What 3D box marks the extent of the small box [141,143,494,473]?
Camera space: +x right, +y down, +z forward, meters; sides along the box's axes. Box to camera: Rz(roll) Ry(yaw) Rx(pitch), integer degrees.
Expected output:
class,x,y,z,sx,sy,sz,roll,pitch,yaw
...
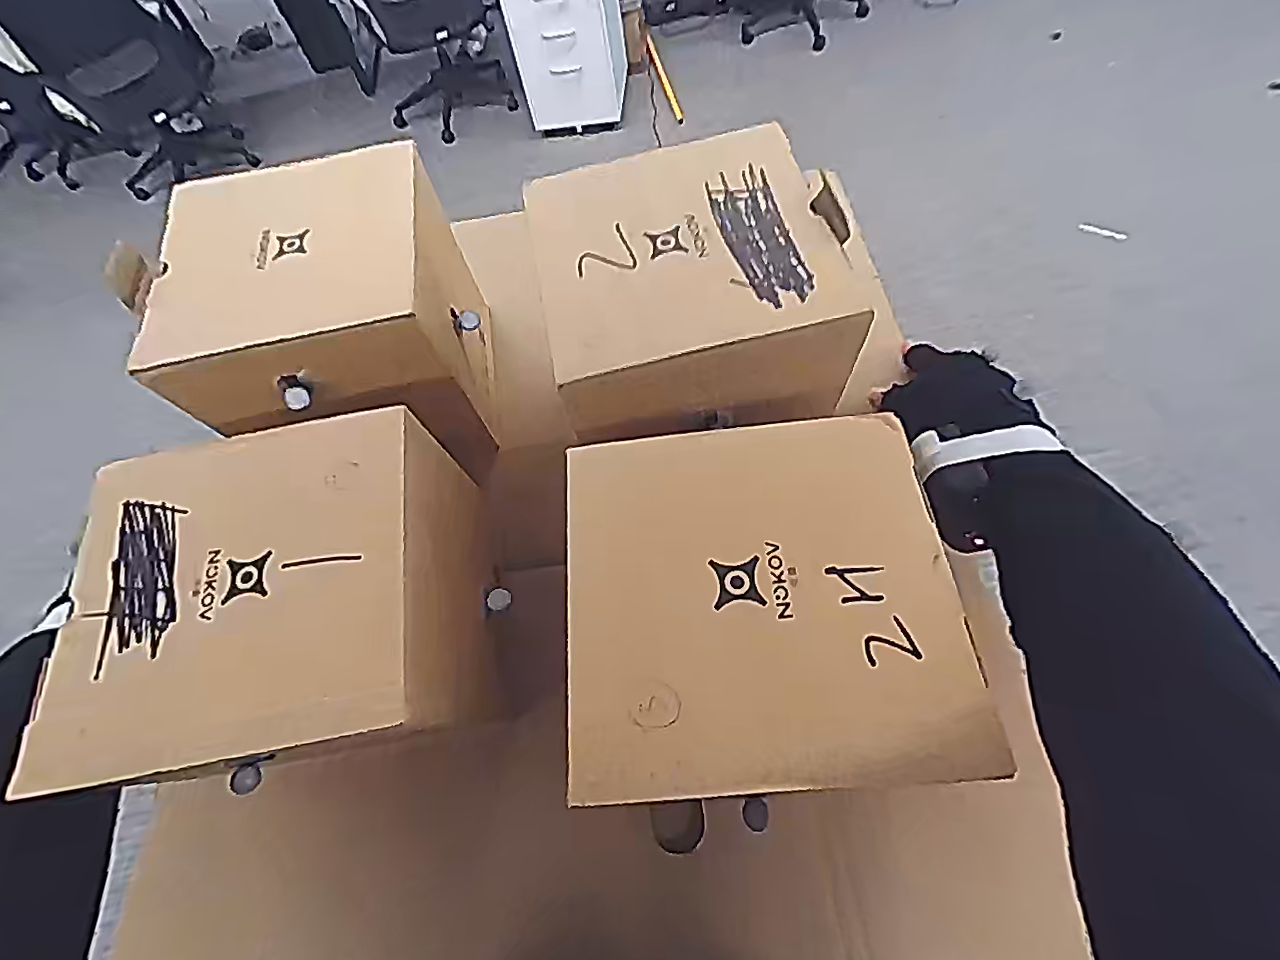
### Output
class,x,y,z,sx,sy,sz,roll,pitch,yaw
small box,-0.225,-0.124,0.433,0.179,0.176,0.168,-12,64,1
